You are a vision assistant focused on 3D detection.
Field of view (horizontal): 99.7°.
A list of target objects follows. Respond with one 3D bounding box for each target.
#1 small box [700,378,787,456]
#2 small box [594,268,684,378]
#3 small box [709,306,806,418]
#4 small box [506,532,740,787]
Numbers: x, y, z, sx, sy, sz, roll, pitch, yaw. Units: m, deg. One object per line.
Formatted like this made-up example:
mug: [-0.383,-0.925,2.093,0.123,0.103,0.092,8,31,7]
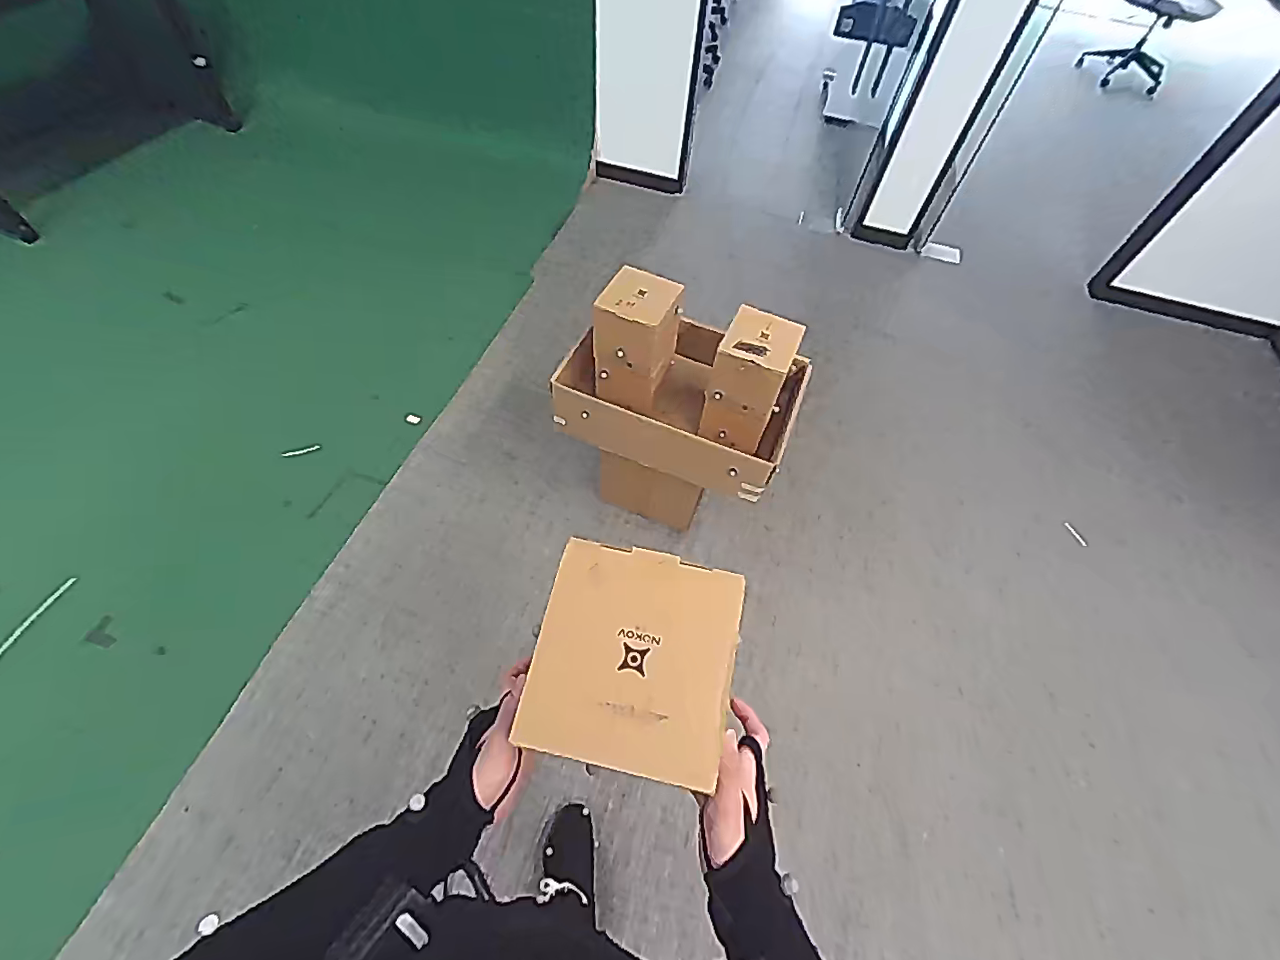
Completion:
small box: [0.272,-0.197,1.448,0.168,0.176,0.179,22,60,9]
small box: [-0.005,-0.390,1.356,0.168,0.176,0.179,23,59,11]
small box: [0.276,-0.280,1.306,0.168,0.176,0.179,23,59,10]
small box: [-0.010,0.173,0.522,0.168,0.176,0.179,11,66,5]
